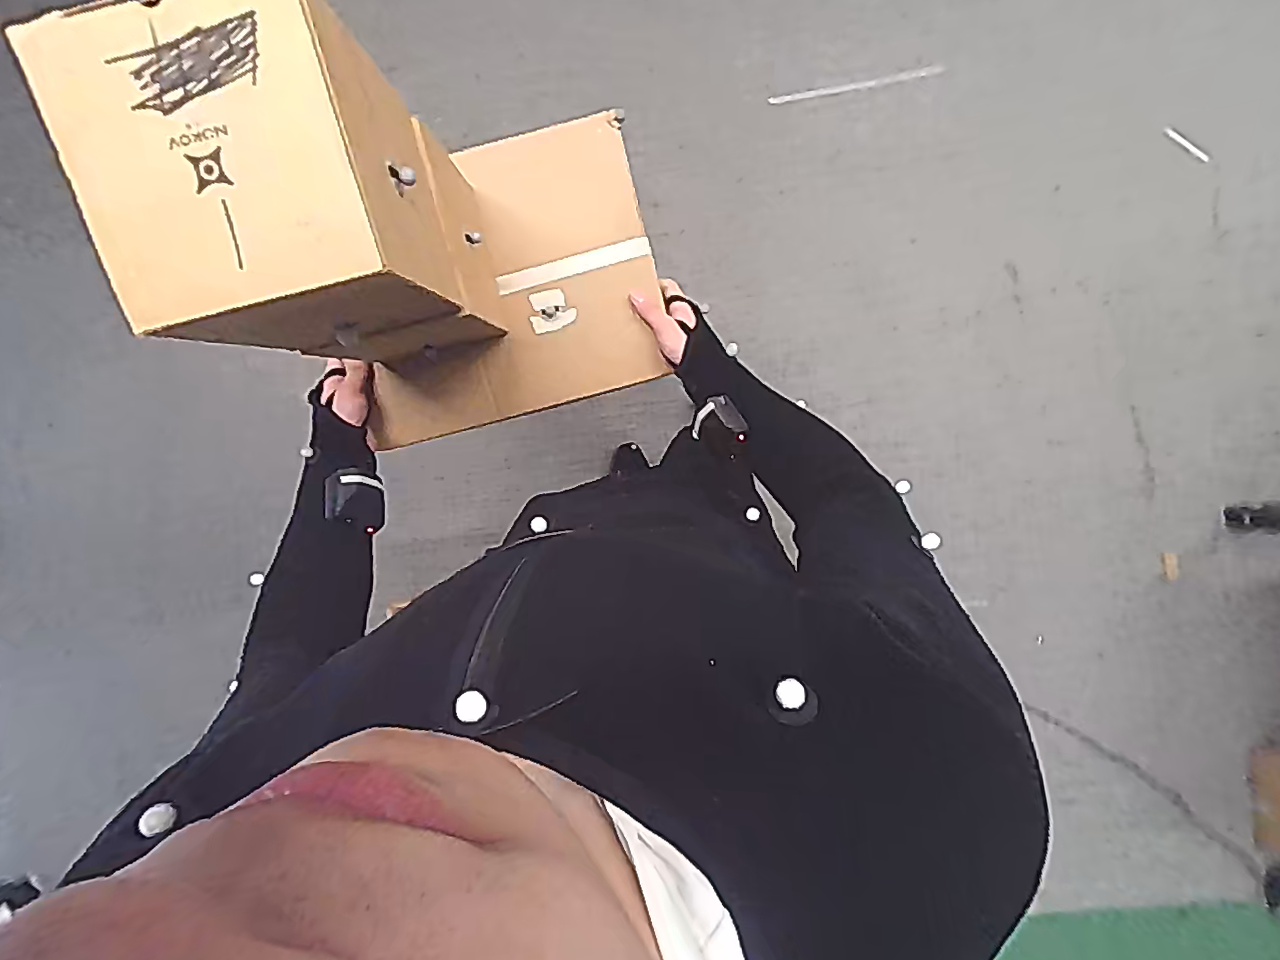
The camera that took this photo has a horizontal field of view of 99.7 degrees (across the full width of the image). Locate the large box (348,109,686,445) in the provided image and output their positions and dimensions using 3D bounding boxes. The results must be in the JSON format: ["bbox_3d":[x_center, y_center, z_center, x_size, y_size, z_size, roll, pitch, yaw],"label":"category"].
[{"bbox_3d":[-0.176,-0.263,0.805,0.408,0.320,0.320,-15,101,0],"label":"large box"}]

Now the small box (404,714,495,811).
[{"bbox_3d":[-0.494,0.732,1.416,0.179,0.176,0.168,1,91,3],"label":"small box"}]

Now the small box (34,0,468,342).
[{"bbox_3d":[-0.247,-0.210,0.397,0.168,0.176,0.179,-13,100,1],"label":"small box"}]

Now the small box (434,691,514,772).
[{"bbox_3d":[-0.479,0.729,1.578,0.179,0.176,0.168,-3,90,2],"label":"small box"}]
